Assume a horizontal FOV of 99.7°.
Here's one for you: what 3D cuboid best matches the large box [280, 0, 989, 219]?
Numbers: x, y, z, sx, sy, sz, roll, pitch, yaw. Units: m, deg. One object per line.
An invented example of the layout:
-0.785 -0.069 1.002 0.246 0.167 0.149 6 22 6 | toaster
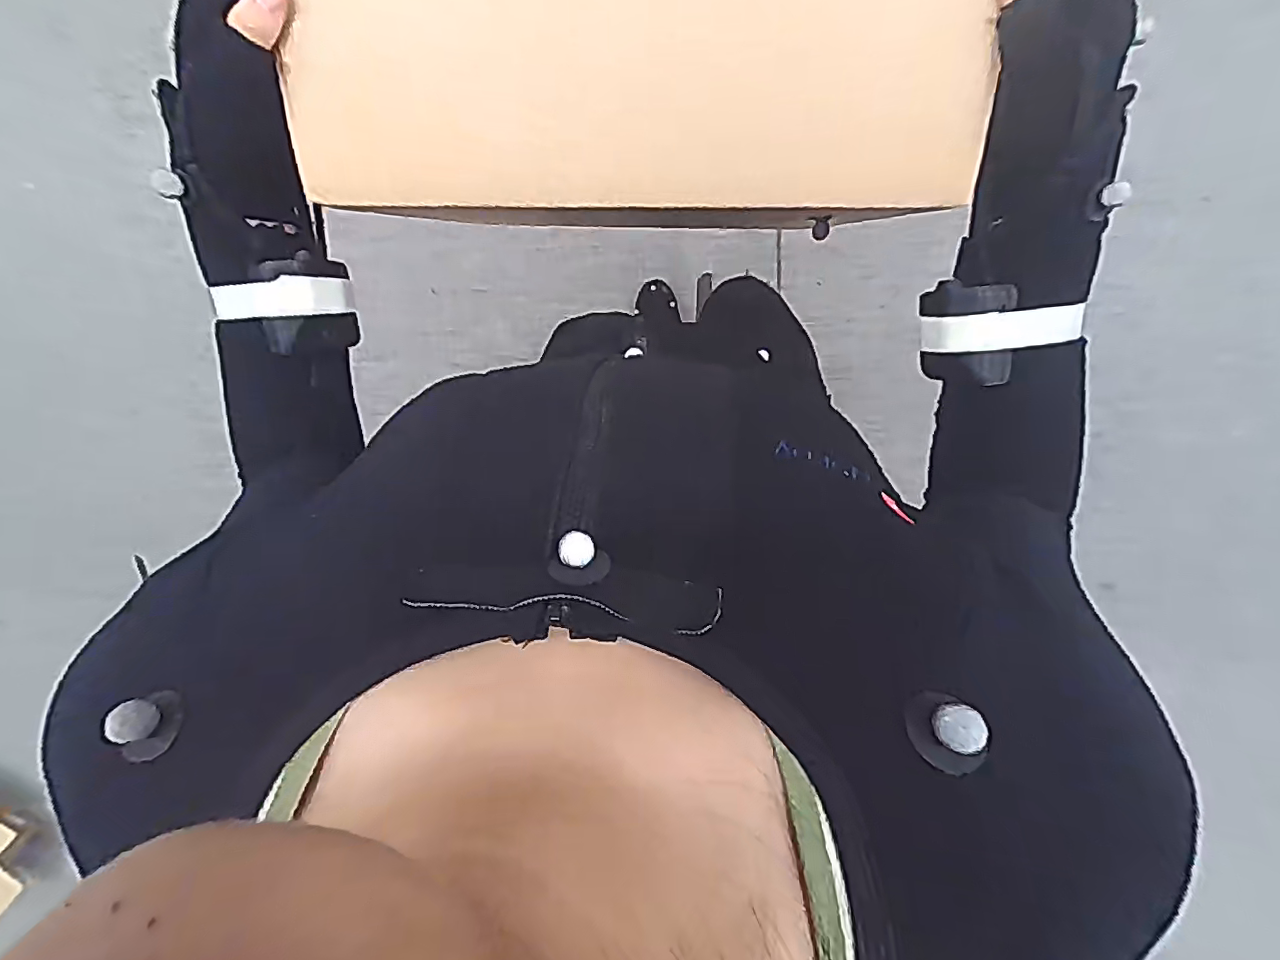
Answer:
0.002 -0.376 0.417 0.408 0.320 0.320 1 113 1 | large box
